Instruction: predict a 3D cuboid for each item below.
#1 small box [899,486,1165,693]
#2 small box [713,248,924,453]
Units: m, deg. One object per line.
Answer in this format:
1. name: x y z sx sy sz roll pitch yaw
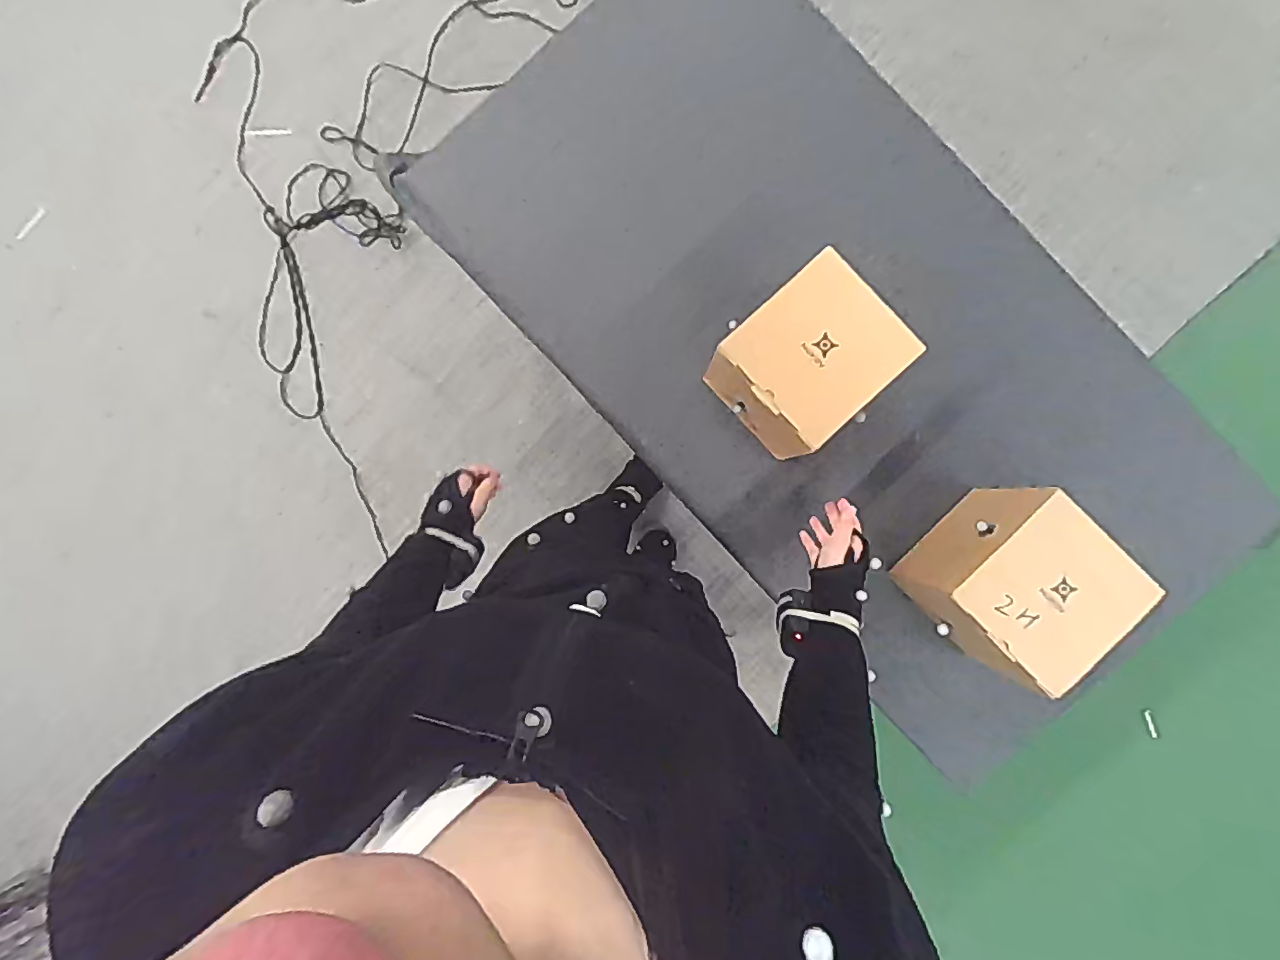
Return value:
1. small box: 0.471 0.123 0.683 0.179 0.176 0.168 -44 87 1
2. small box: 0.212 -0.153 0.700 0.179 0.176 0.168 -43 89 1
